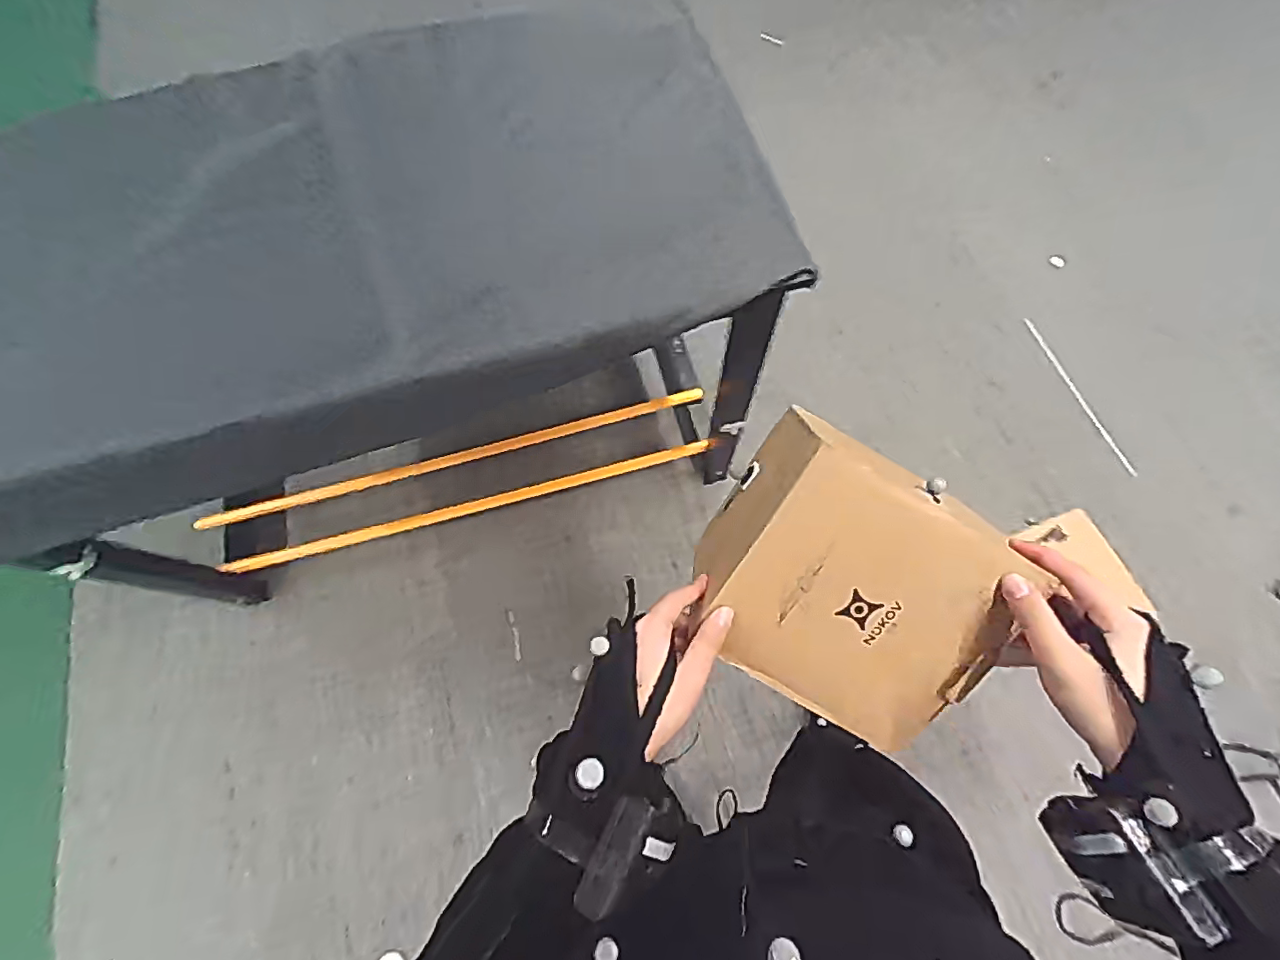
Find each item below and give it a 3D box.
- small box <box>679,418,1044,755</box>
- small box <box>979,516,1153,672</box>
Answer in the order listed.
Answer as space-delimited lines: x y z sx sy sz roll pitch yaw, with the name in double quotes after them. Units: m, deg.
0.148 0.065 0.430 0.179 0.176 0.168 29 106 -1 "small box"
0.596 0.179 0.829 0.168 0.176 0.179 -19 70 -6 "small box"
